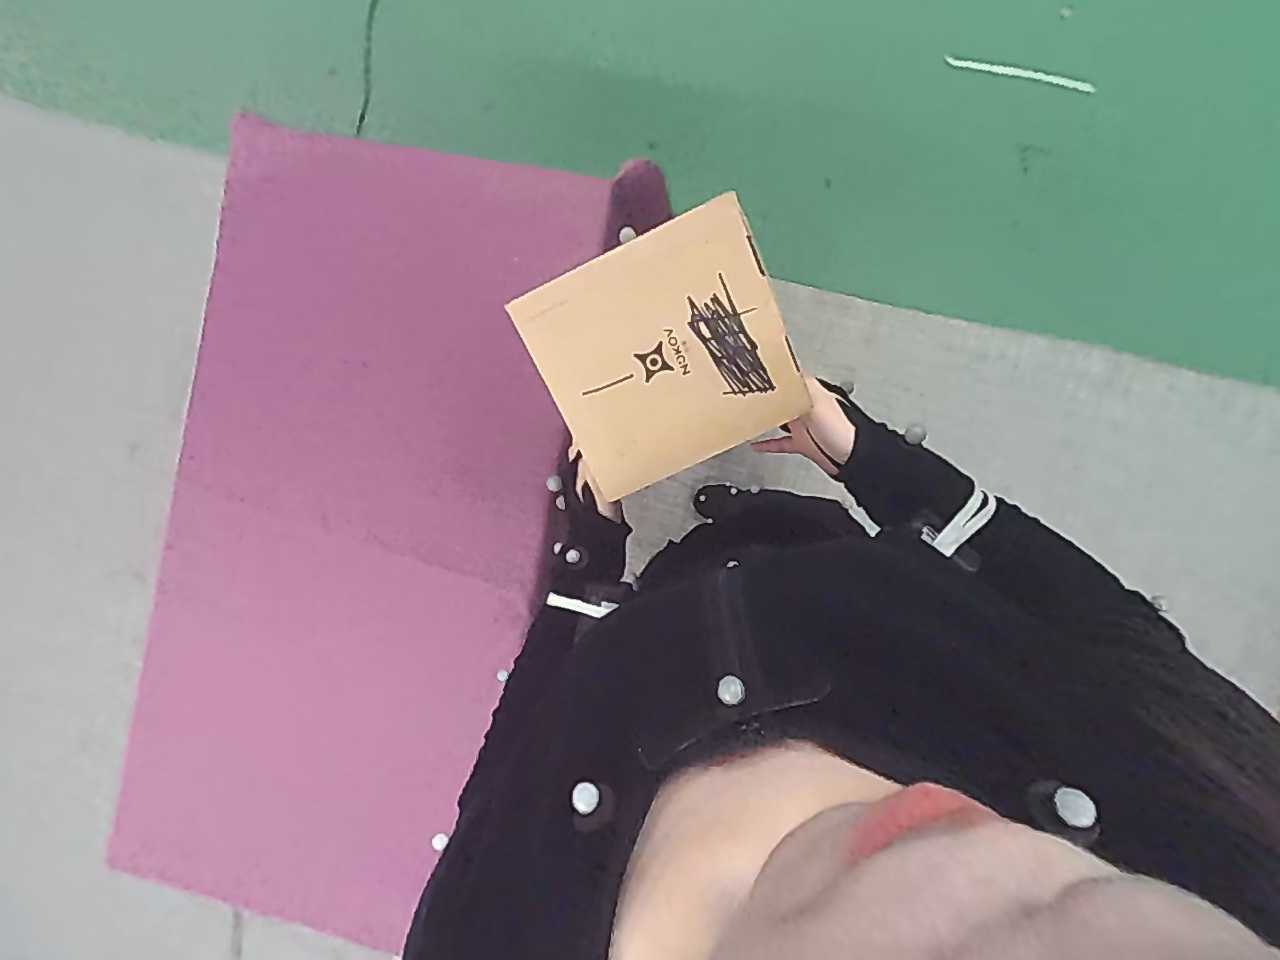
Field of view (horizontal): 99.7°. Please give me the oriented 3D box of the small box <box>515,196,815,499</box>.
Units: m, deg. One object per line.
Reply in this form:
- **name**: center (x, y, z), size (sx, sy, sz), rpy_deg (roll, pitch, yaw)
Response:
- **small box**: center (0.020, -0.111, 0.465), size (0.179, 0.176, 0.168), rpy_deg (-23, 105, 7)
